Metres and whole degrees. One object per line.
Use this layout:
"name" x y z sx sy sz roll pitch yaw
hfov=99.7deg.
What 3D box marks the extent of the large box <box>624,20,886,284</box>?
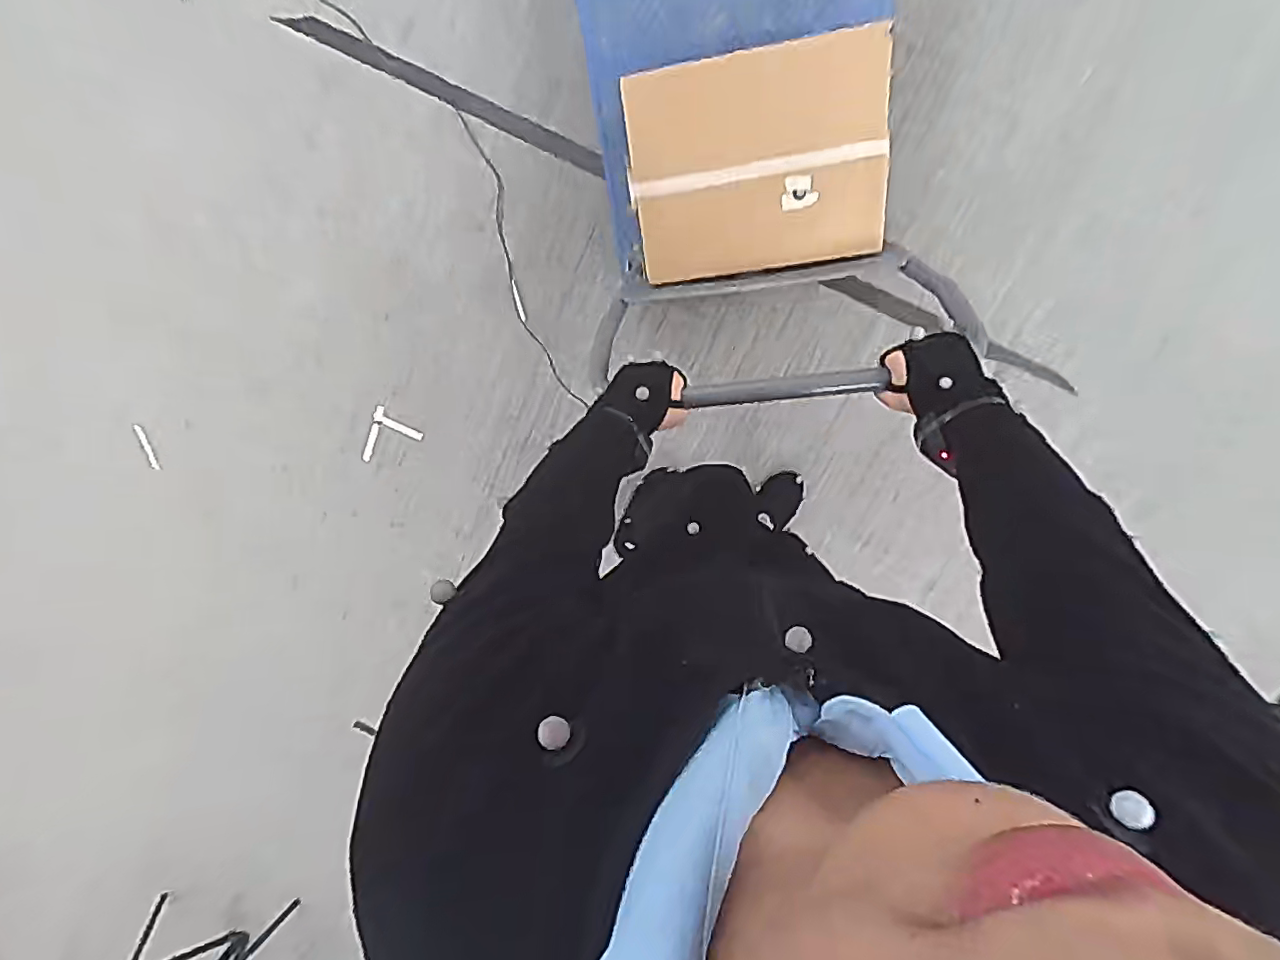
"large box" 0.208 -0.586 1.022 0.408 0.320 0.320 -6 118 10
